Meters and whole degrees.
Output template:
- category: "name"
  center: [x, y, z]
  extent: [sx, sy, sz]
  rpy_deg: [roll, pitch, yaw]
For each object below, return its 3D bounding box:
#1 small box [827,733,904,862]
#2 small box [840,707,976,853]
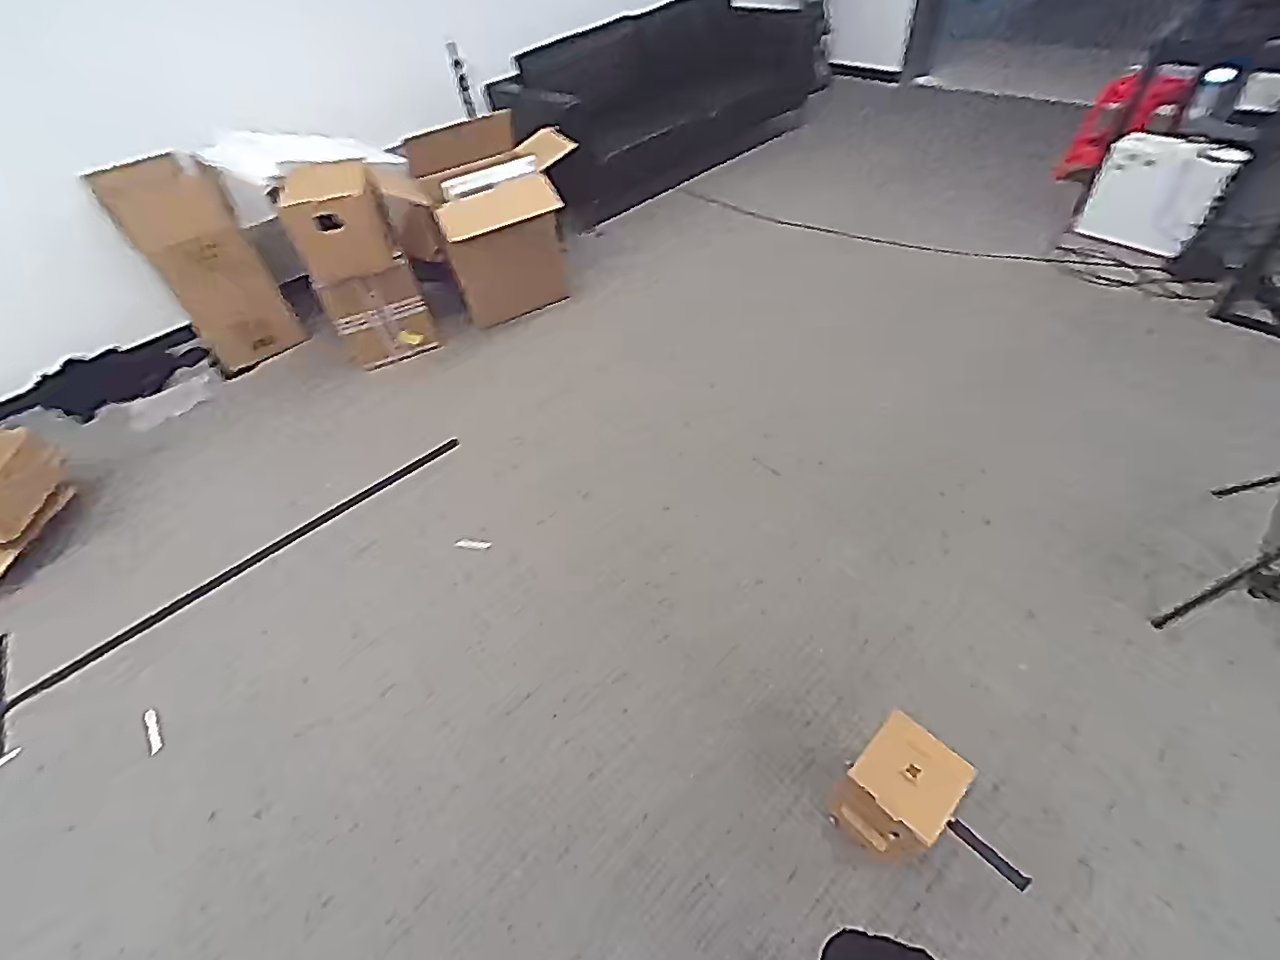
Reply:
- category: "small box"
  center: [0.534, 0.704, 1.197]
  extent: [0.179, 0.176, 0.168]
  rpy_deg: [-37, 54, -23]
- category: "small box"
  center: [0.518, 0.599, 1.074]
  extent: [0.179, 0.176, 0.168]
  rpy_deg: [-38, 55, -23]
